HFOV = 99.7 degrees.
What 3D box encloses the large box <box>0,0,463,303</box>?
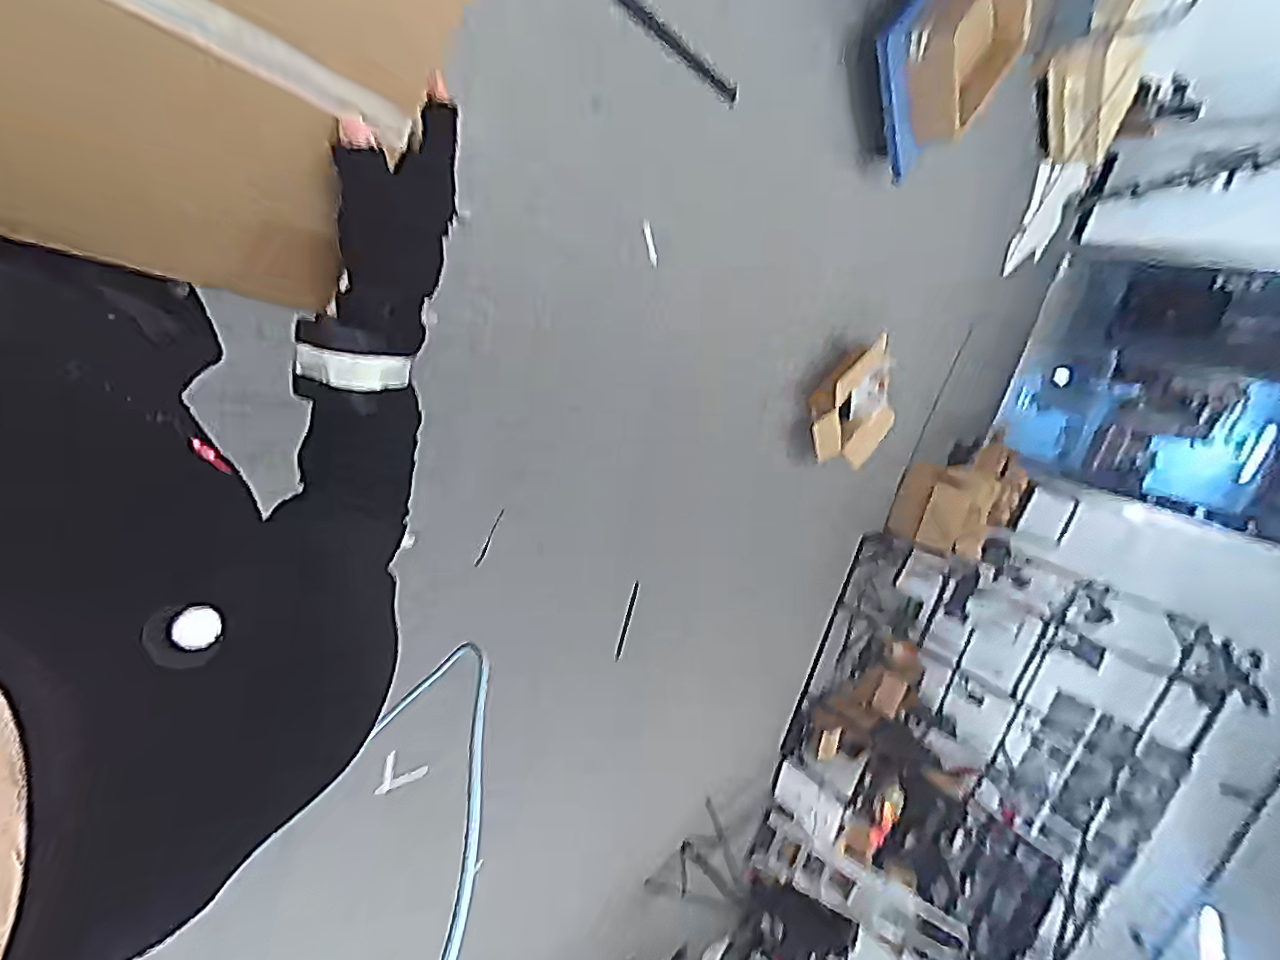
[{"bbox_3d":[-0.341,-0.352,0.253,0.408,0.320,0.320,4,143,-49],"label":"large box"}]
